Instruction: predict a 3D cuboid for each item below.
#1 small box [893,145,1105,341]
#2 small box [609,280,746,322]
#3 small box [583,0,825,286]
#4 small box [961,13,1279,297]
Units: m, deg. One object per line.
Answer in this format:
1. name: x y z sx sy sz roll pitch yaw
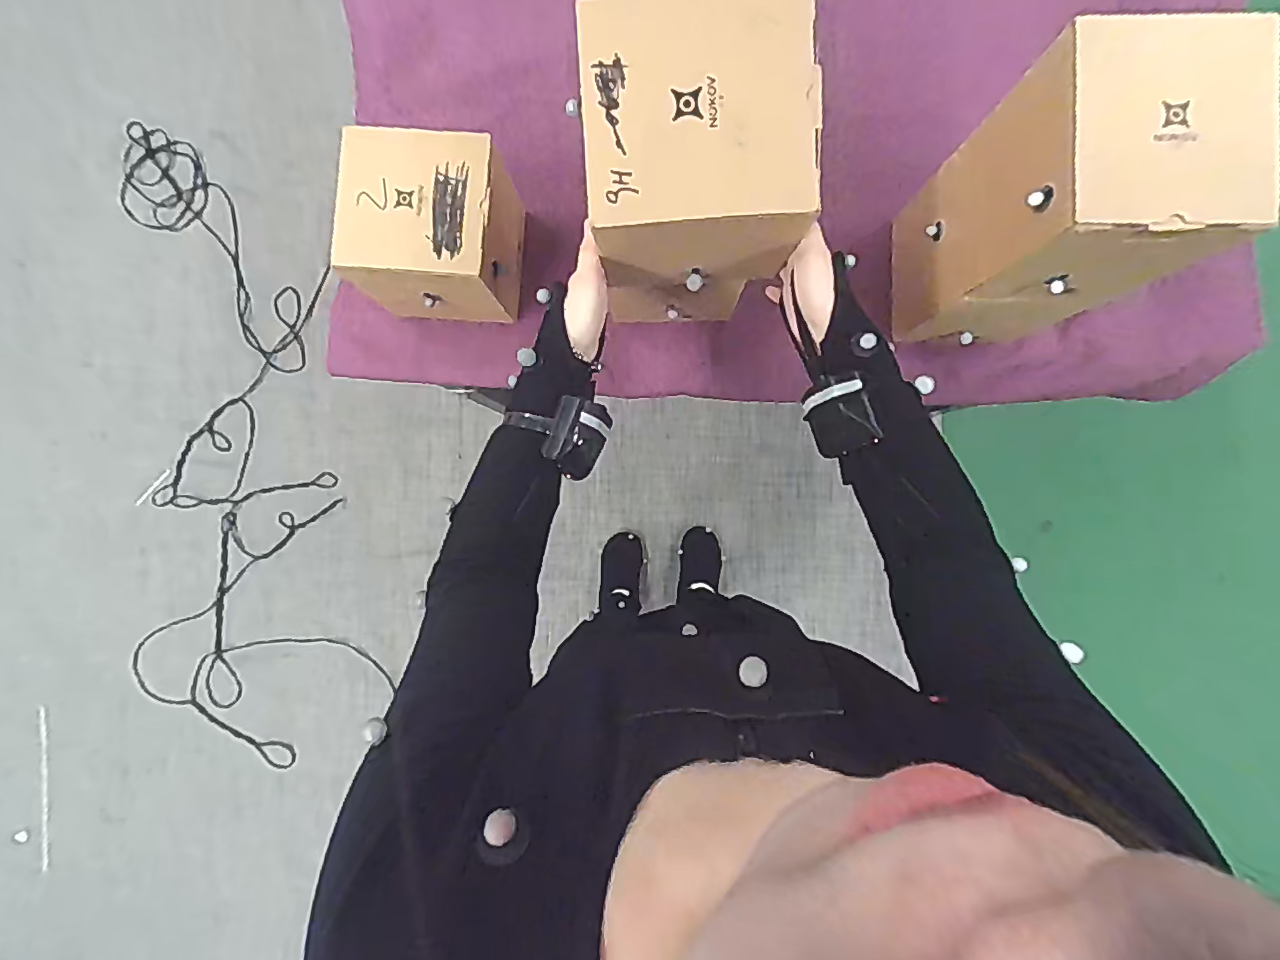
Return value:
1. small box: 0.436 -0.286 0.682 0.168 0.176 0.179 1 90 1
2. small box: 0.042 -0.315 0.688 0.168 0.176 0.179 -1 88 1
3. small box: 0.048 -0.279 0.476 0.179 0.176 0.168 -3 93 1
4. small box: 0.435 -0.292 0.519 0.168 0.176 0.179 0 90 1
